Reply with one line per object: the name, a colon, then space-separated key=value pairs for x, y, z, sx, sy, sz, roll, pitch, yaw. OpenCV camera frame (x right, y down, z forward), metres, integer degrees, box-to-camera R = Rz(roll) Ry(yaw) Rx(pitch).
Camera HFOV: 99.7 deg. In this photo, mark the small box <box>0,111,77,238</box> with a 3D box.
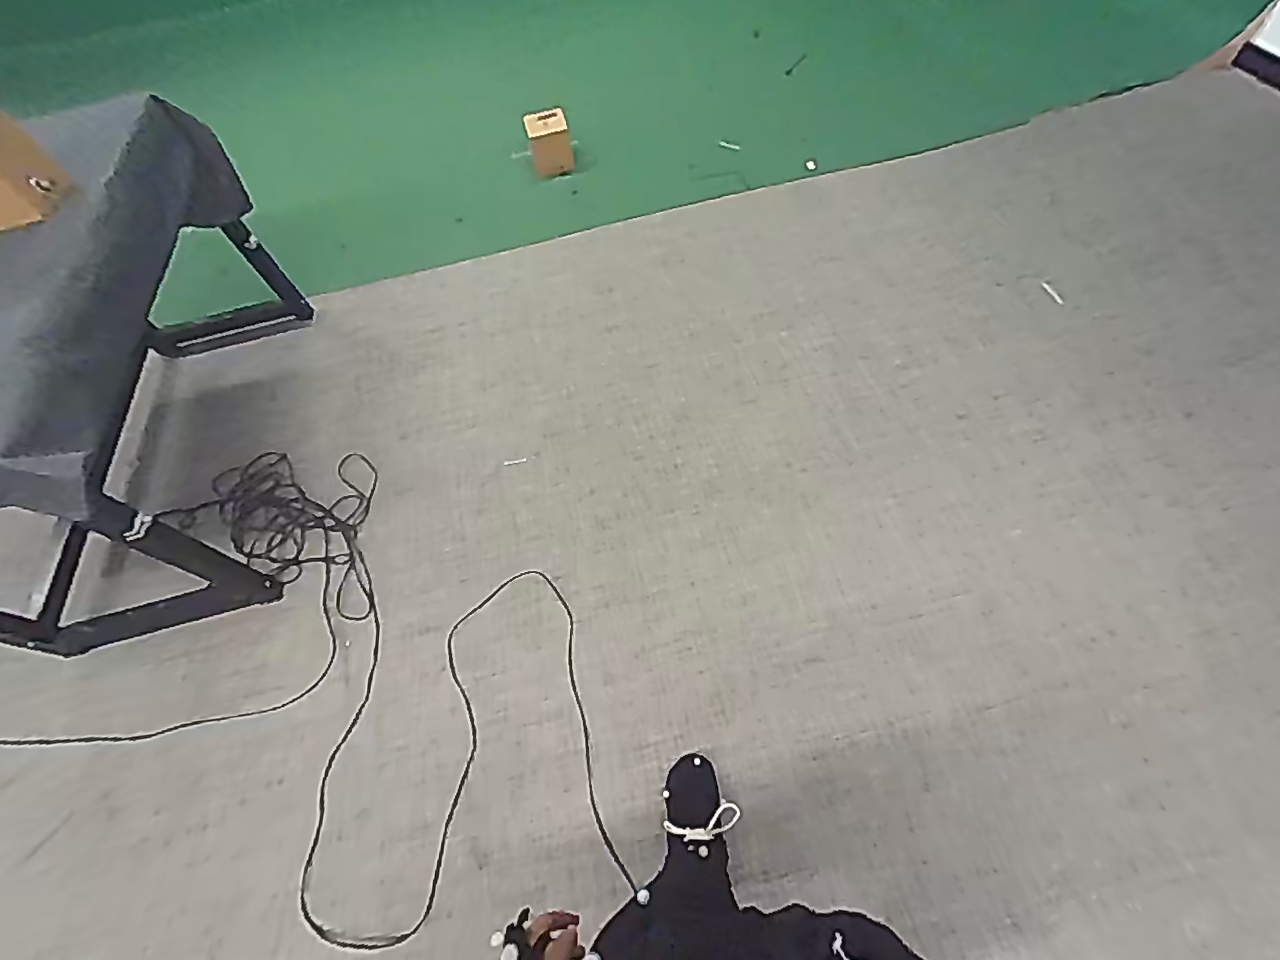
small box: x=-1.367 y=-0.630 z=1.131 sx=0.179 sy=0.176 sz=0.168 roll=-14 pitch=60 yaw=-2
